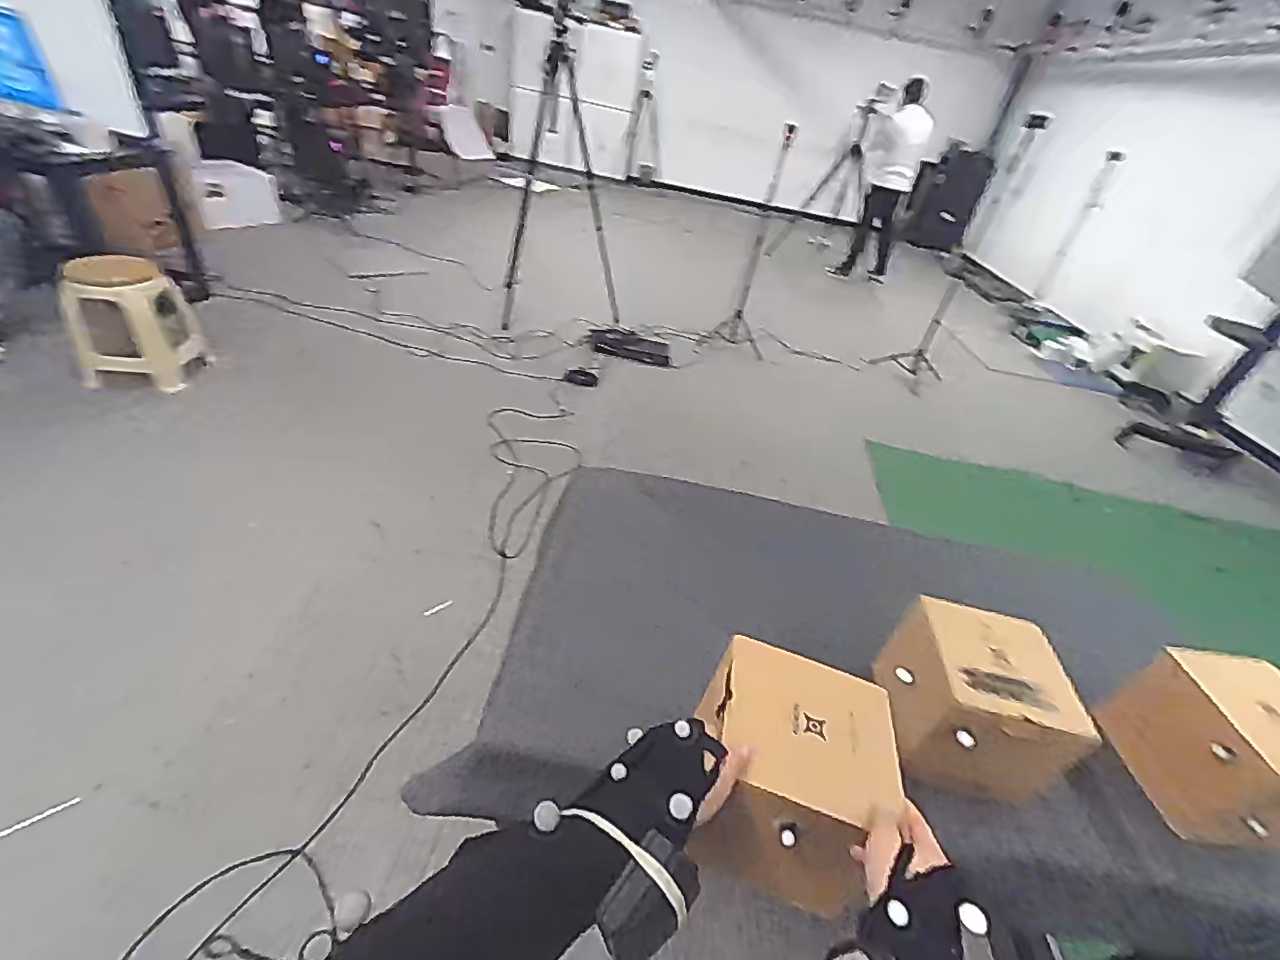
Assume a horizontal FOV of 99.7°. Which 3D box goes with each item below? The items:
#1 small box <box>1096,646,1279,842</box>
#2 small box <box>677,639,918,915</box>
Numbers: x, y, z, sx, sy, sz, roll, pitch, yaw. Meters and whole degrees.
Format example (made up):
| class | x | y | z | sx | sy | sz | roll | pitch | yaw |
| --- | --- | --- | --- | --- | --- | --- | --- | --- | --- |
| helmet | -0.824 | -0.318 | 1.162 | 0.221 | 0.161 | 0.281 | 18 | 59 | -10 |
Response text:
| class | x | y | z | sx | sy | sz | roll | pitch | yaw |
| --- | --- | --- | --- | --- | --- | --- | --- | --- | --- |
| small box | 0.796 | 0.360 | 0.742 | 0.168 | 0.176 | 0.179 | 8 | 36 | -4 |
| small box | 0.151 | 0.307 | 0.565 | 0.179 | 0.176 | 0.168 | 20 | 32 | 4 |
